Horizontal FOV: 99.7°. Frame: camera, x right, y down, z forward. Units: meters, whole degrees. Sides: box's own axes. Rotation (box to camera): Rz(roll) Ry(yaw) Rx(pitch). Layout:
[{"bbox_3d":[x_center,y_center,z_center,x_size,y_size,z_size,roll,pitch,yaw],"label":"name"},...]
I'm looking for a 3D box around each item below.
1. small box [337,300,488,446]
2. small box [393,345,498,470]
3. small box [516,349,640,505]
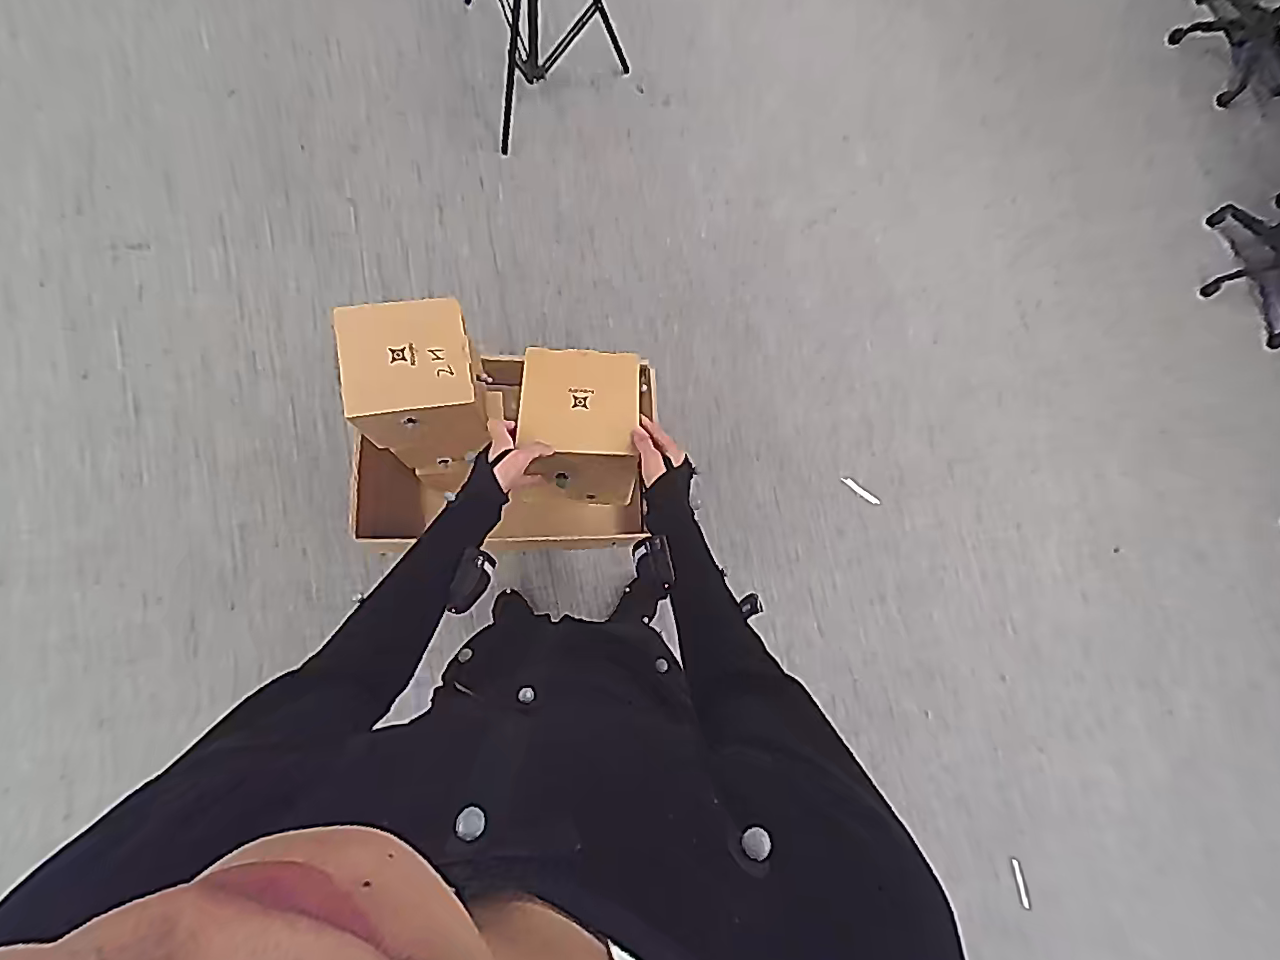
[{"bbox_3d":[-0.343,-0.158,0.841,0.179,0.176,0.168,-9,81,-12],"label":"small box"},{"bbox_3d":[-0.361,-0.129,1.001,0.168,0.176,0.179,-9,81,-12],"label":"small box"},{"bbox_3d":[-0.088,-0.073,0.816,0.168,0.176,0.179,2,63,-5],"label":"small box"}]
